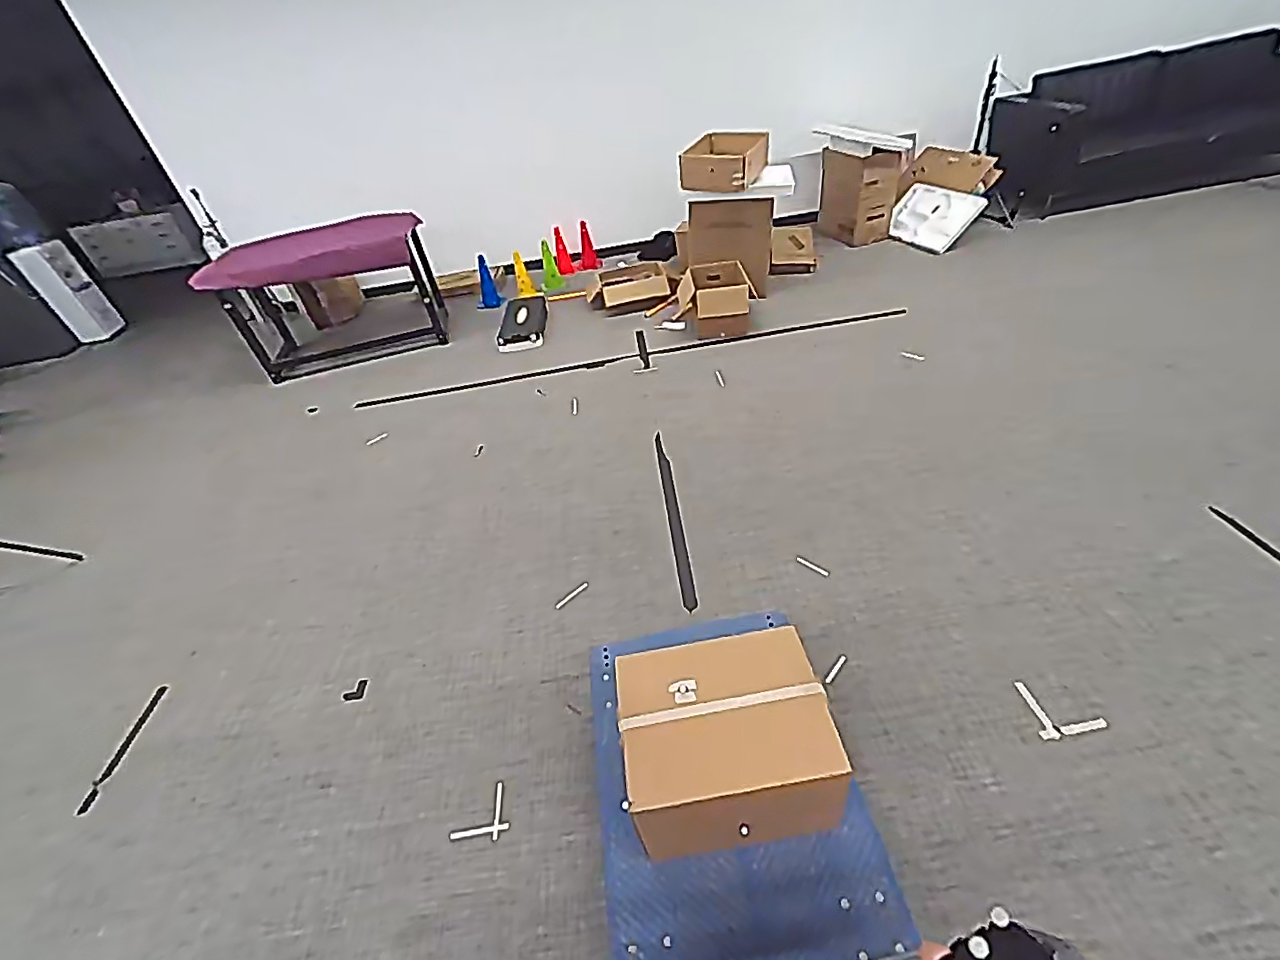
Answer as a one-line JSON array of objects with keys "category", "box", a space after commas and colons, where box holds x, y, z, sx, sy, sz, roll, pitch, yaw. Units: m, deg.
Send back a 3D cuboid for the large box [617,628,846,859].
[{"category": "large box", "box": [0.185, 0.577, 1.187, 0.408, 0.320, 0.320, -11, 39, 0]}]
